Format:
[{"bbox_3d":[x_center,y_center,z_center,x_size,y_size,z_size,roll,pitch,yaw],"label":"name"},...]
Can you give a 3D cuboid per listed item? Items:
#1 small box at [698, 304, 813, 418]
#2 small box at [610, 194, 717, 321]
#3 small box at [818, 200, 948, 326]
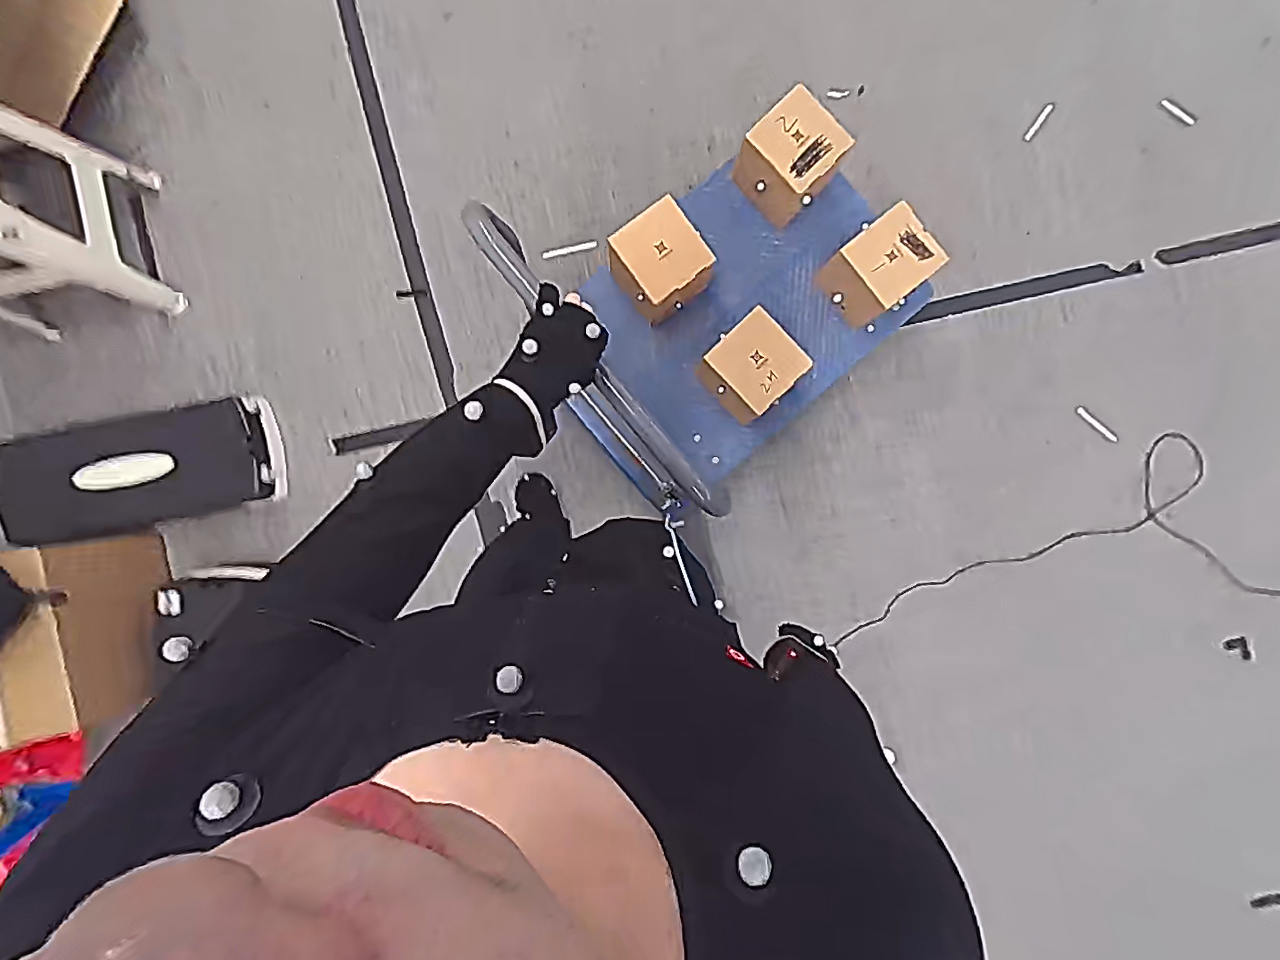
[{"bbox_3d":[0.250,-0.257,1.223,0.168,0.176,0.179,-43,91,-1],"label":"small box"},{"bbox_3d":[0.045,-0.490,1.218,0.168,0.176,0.179,-37,92,-1],"label":"small box"},{"bbox_3d":[0.540,-0.482,1.228,0.179,0.176,0.168,-39,91,0],"label":"small box"}]
